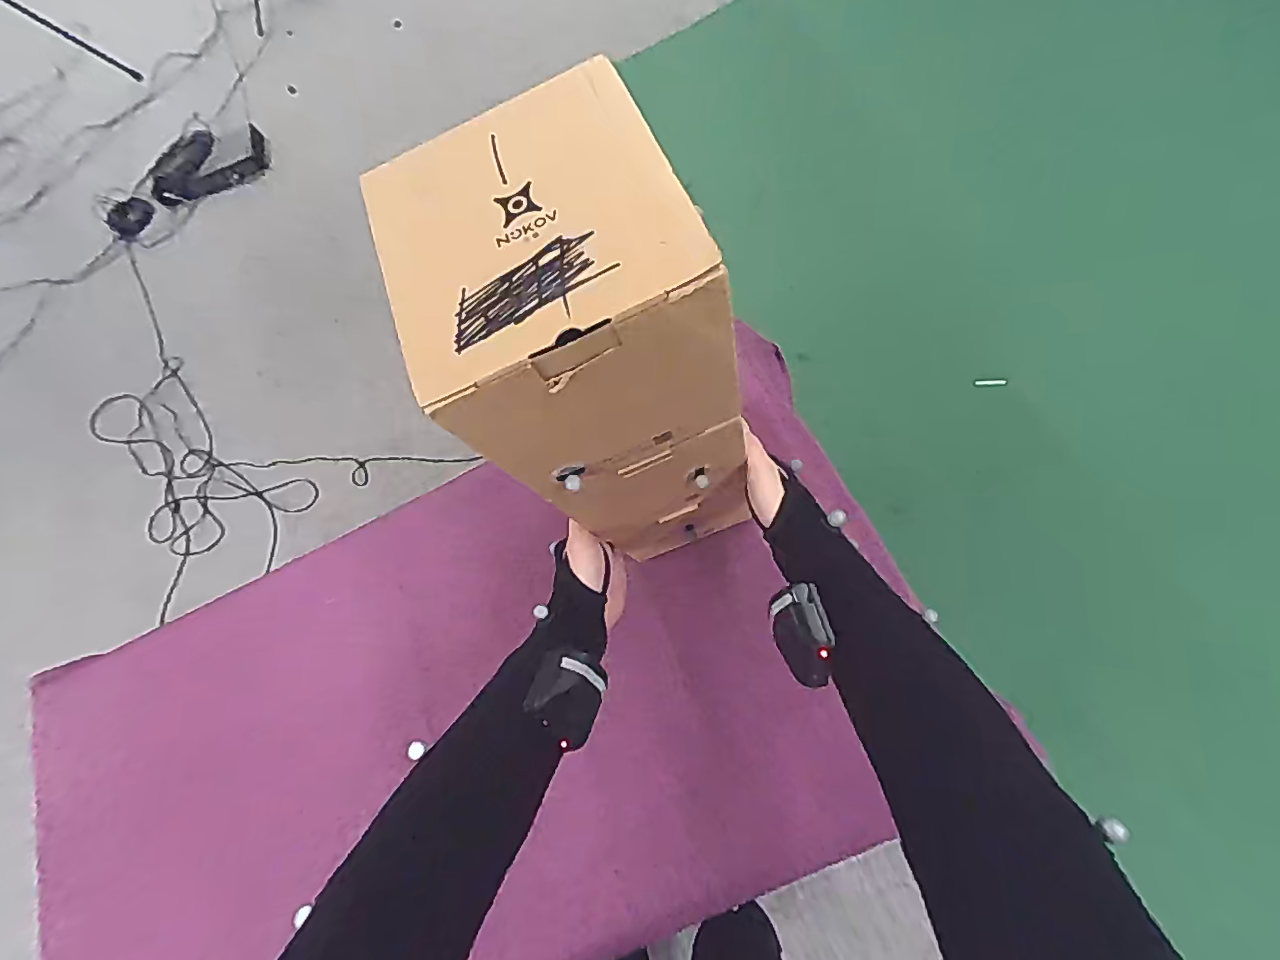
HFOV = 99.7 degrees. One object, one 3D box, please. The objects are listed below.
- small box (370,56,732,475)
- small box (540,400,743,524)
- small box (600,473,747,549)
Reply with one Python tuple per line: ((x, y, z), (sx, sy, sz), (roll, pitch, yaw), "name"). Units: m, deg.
((-0.045, -0.118, 0.367), (0.168, 0.176, 0.179), (-23, 69, 4), "small box")
((-0.008, -0.069, 0.519), (0.168, 0.176, 0.179), (-22, 69, 5), "small box")
((0.027, -0.023, 0.672), (0.168, 0.176, 0.179), (-22, 70, 5), "small box")
